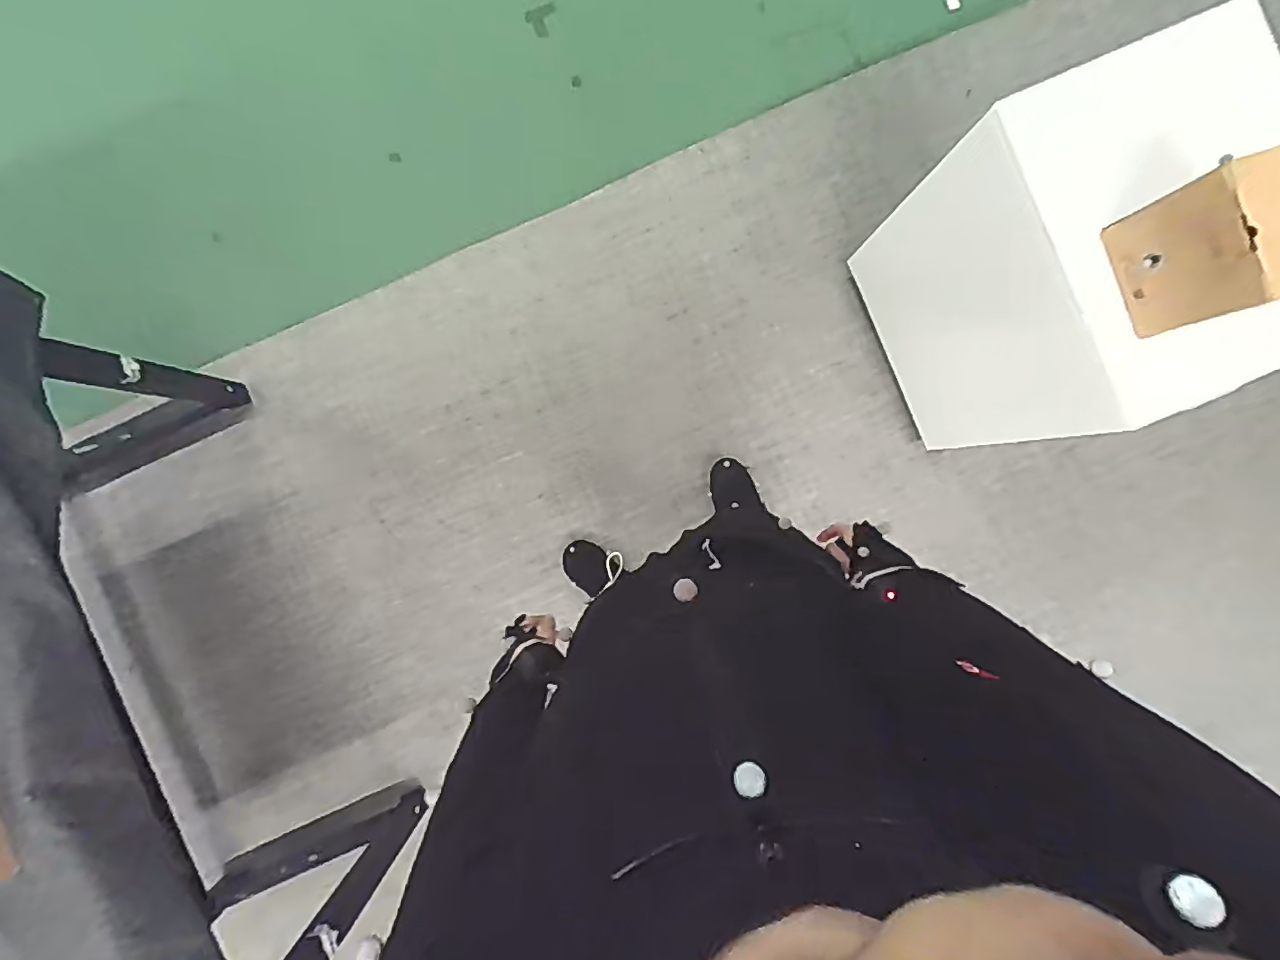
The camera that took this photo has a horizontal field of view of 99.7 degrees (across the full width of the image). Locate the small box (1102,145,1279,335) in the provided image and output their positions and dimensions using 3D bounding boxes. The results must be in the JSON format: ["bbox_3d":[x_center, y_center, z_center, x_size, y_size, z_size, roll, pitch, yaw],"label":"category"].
[{"bbox_3d":[0.760,-0.306,0.689,0.179,0.176,0.168,-20,90,0],"label":"small box"}]
